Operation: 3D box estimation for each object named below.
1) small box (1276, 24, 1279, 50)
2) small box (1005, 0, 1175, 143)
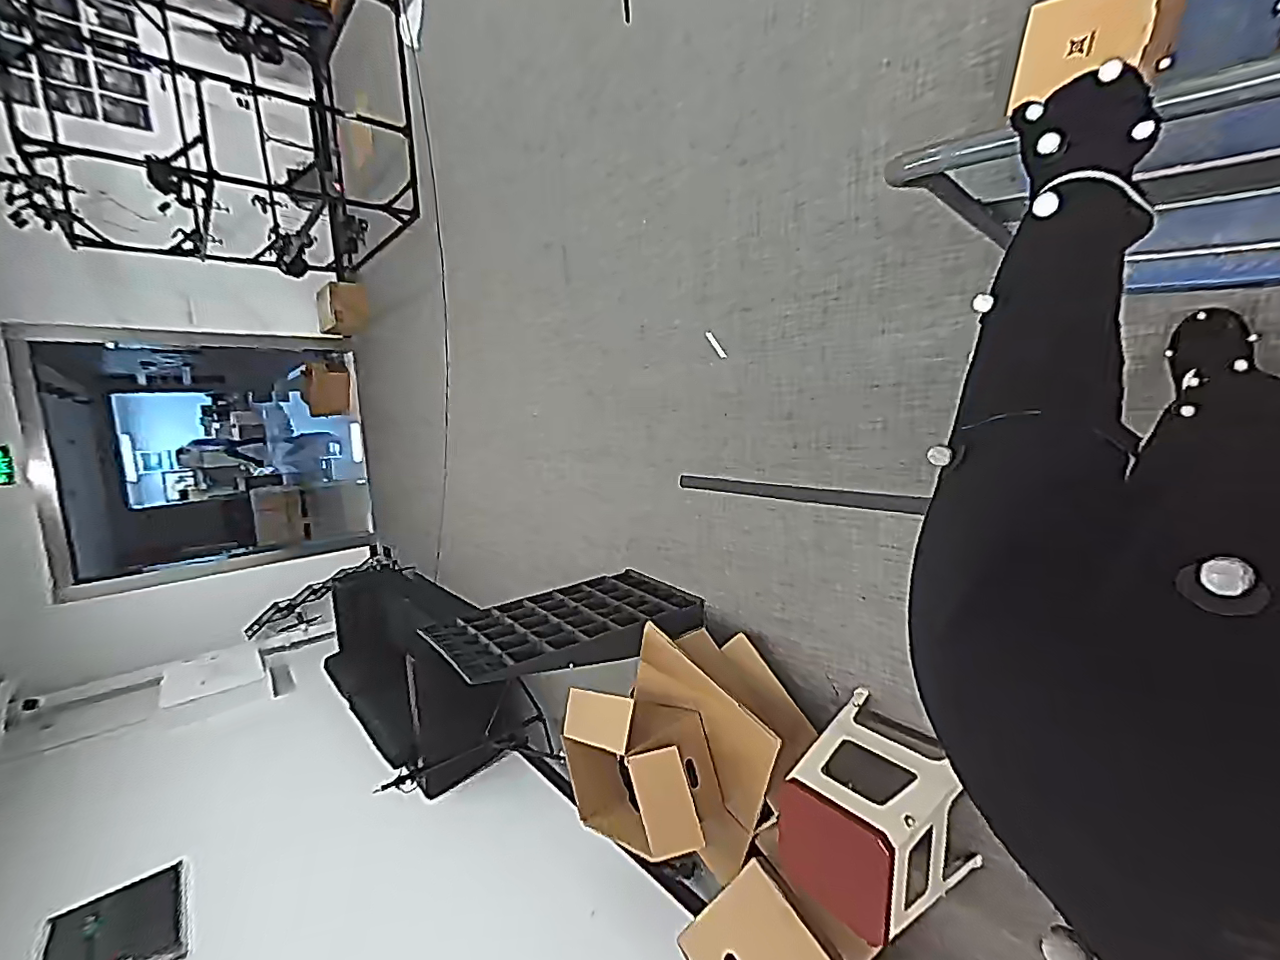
[{"bbox_3d":[0.967,-0.650,0.694,0.179,0.176,0.168,10,105,49],"label":"small box"},{"bbox_3d":[0.768,-0.703,0.925,0.179,0.176,0.168,21,112,45],"label":"small box"}]
